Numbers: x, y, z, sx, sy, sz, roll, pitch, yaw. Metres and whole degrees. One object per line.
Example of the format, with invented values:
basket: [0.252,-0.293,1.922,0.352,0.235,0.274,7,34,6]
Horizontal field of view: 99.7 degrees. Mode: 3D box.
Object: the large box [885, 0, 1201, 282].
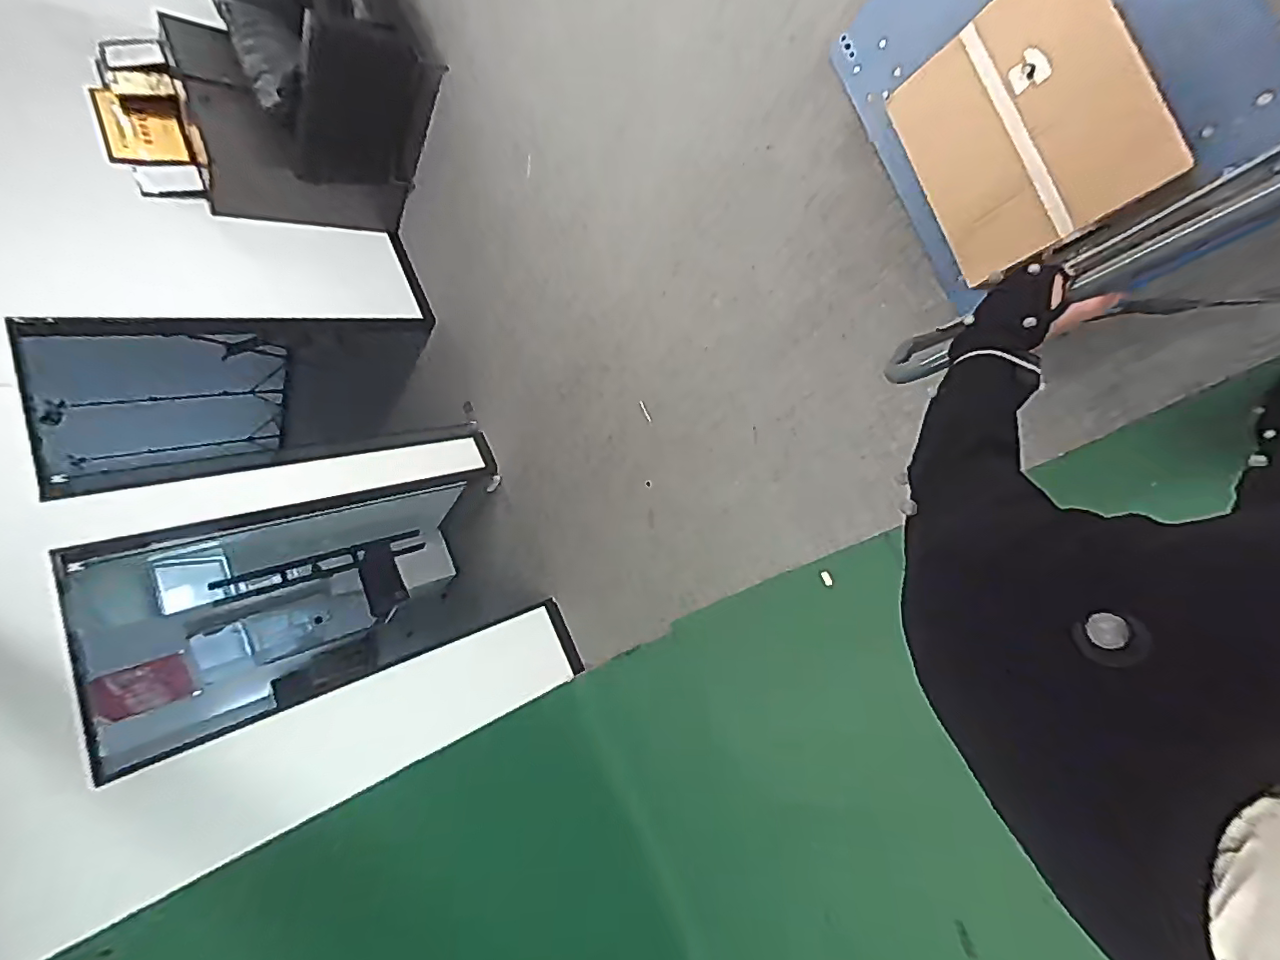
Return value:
large box: [0.742,-0.631,1.006,0.320,0.320,0.408,-27,82,48]
